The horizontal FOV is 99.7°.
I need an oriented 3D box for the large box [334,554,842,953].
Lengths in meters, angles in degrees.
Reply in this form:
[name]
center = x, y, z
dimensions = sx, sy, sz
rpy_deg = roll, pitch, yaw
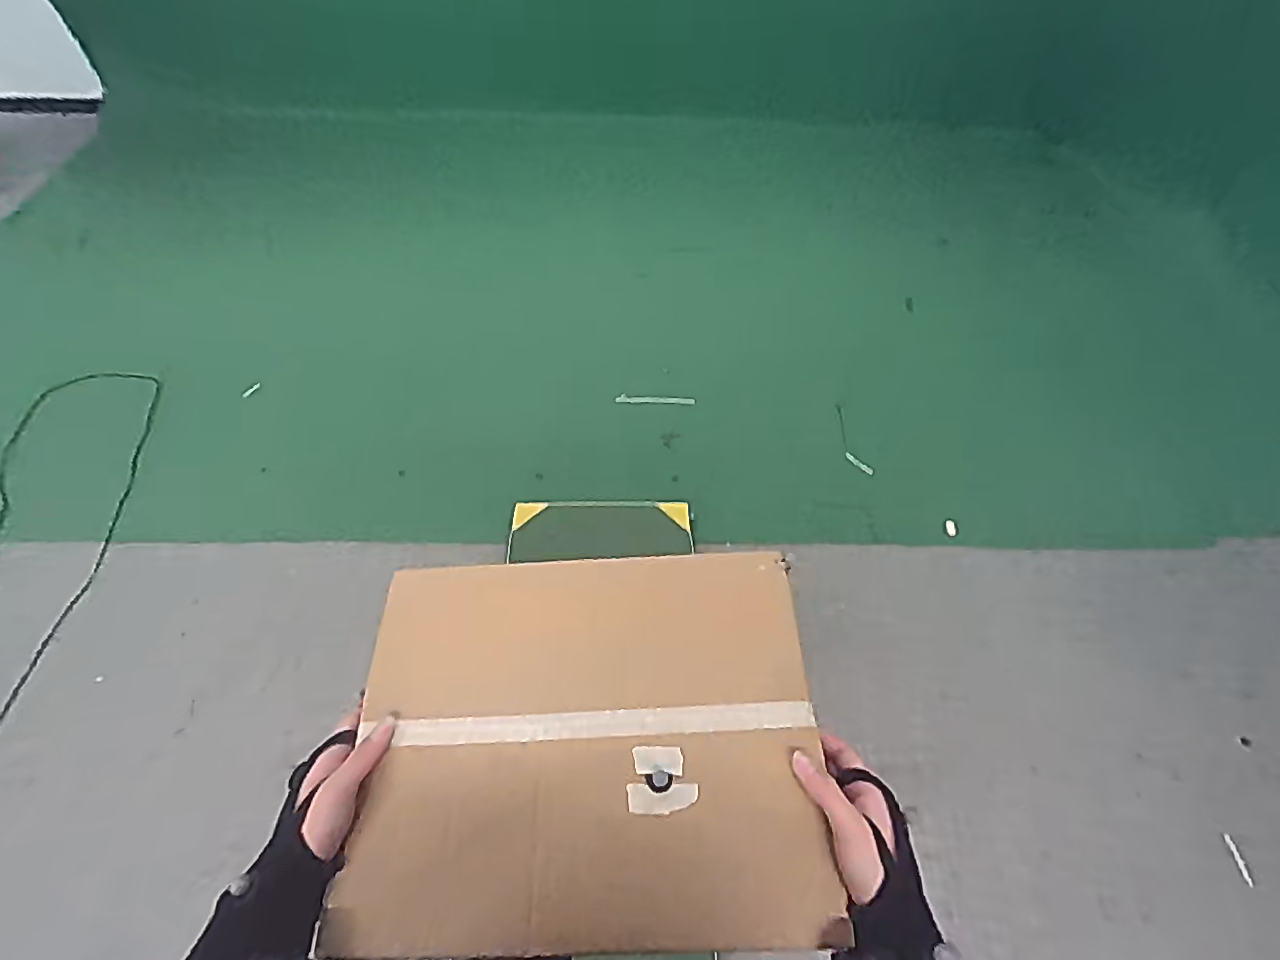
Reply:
[large box]
center = -0.043, 0.300, 0.619
dimensions = 0.408, 0.320, 0.320
rpy_deg = -3, 58, 1
